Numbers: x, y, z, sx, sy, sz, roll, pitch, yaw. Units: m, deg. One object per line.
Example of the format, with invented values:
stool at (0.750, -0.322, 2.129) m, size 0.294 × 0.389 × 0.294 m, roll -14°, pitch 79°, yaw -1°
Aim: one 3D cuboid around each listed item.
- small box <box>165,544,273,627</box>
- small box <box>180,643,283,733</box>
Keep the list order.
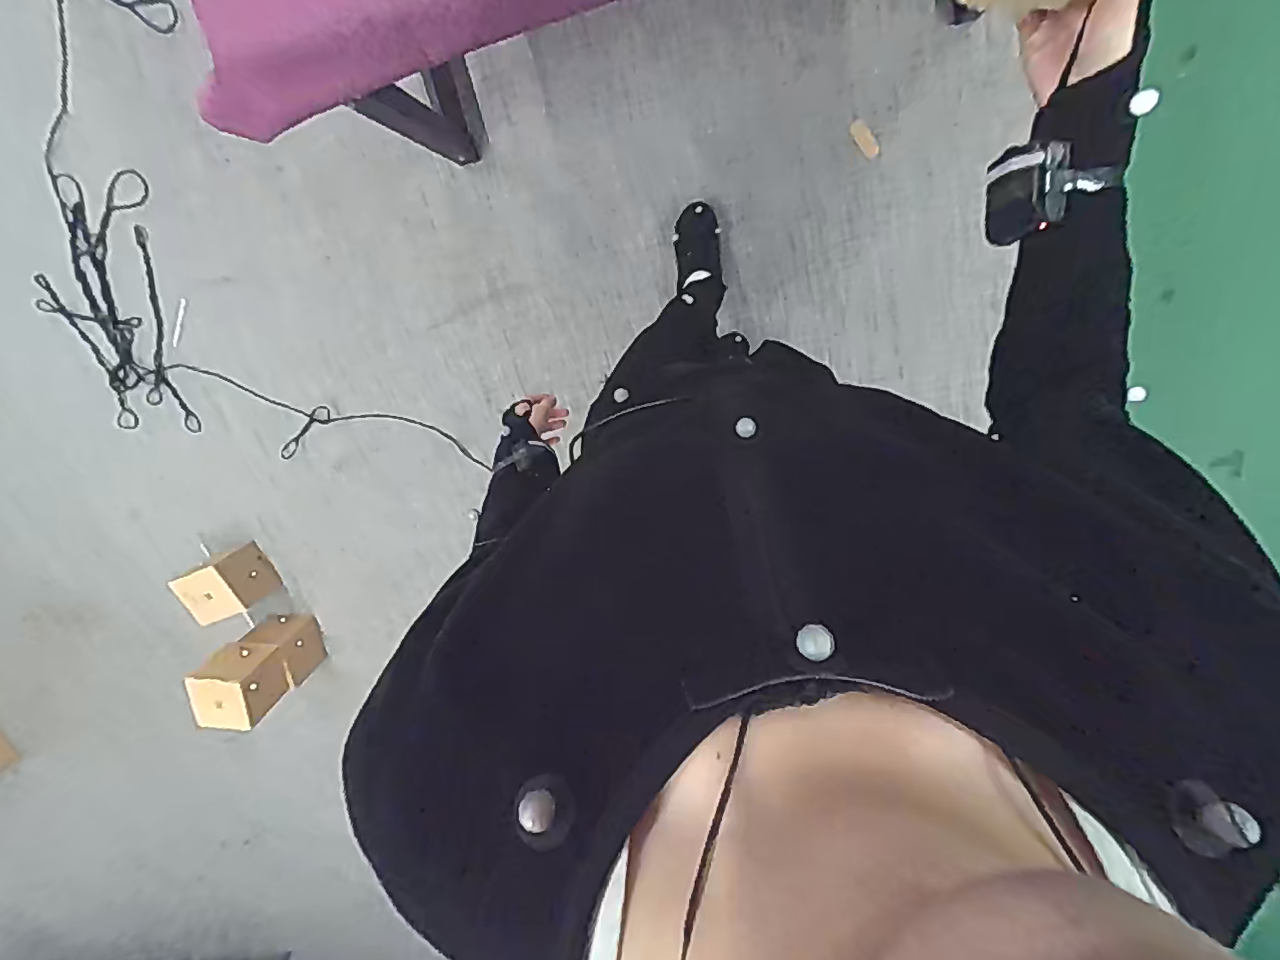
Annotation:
small box at (-1.280, 0.318, 1.667) m, size 0.179 × 0.176 × 0.168 m, roll -19°, pitch 108°, yaw 11°
small box at (-1.196, 0.613, 1.600) m, size 0.168 × 0.176 × 0.179 m, roll 4°, pitch 109°, yaw 3°
